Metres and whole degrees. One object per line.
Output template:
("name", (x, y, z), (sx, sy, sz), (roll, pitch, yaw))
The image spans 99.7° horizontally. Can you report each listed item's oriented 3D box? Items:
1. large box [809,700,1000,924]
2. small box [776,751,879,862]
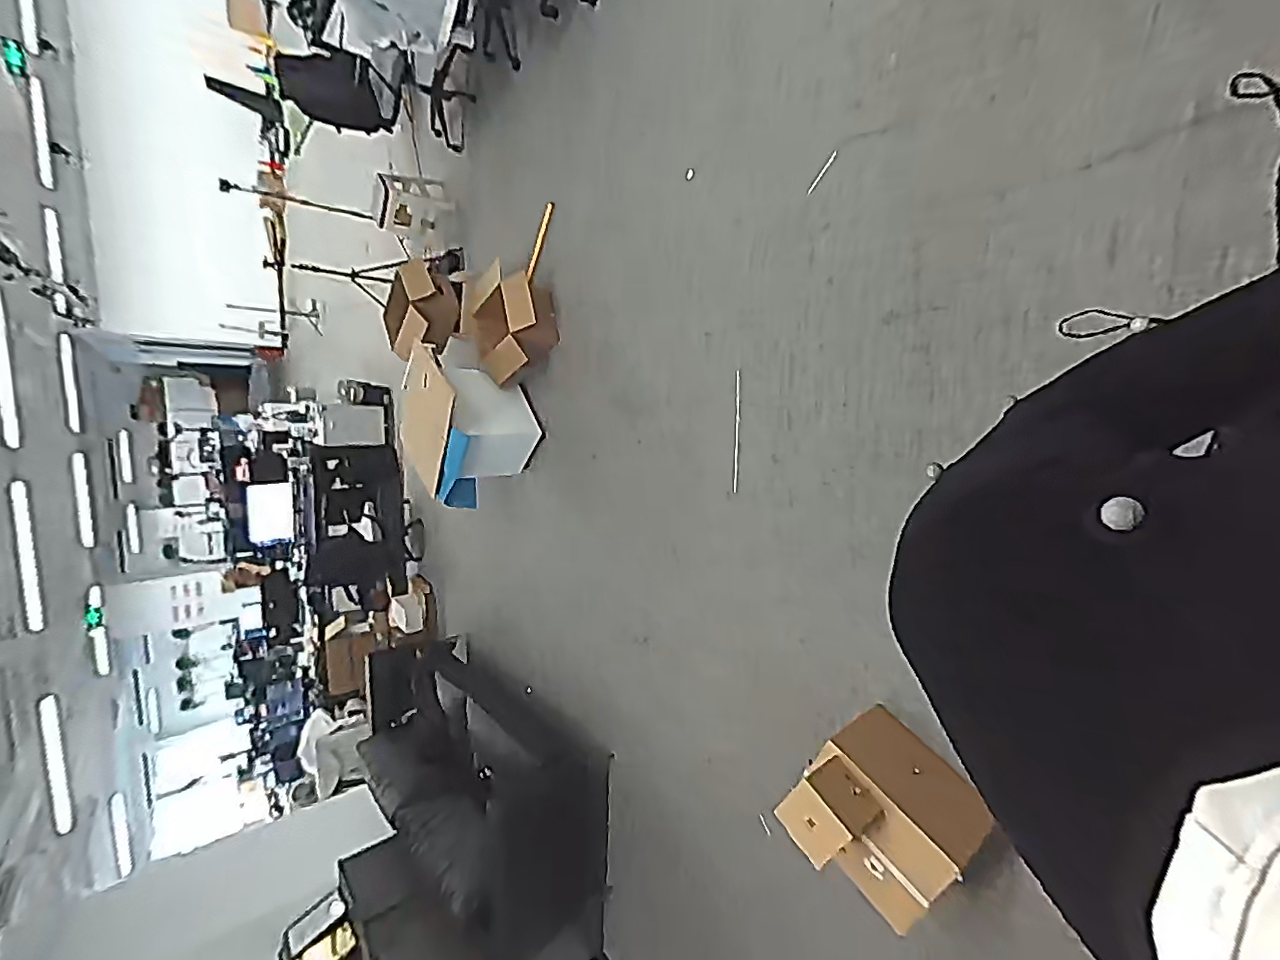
("large box", (0.741, 0.946, 1.599), (0.408, 0.320, 0.320), (39, 123, 38))
("small box", (0.515, 0.886, 1.477), (0.168, 0.176, 0.179), (46, 125, 35))
